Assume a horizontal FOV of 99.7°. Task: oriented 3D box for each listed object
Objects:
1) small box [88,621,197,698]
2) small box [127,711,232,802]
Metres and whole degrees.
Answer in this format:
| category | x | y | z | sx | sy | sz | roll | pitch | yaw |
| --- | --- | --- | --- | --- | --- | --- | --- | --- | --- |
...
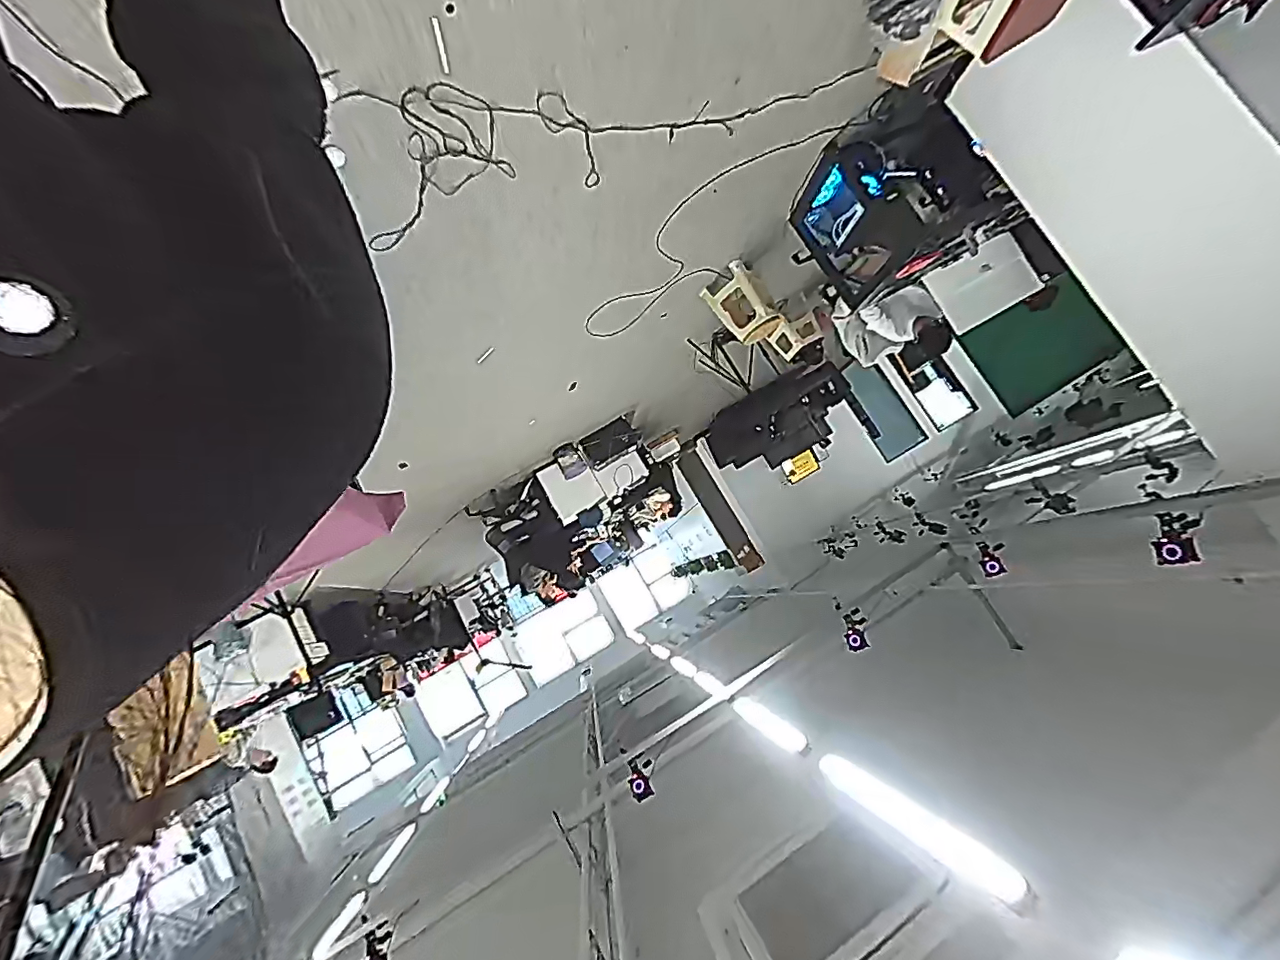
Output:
| category | x | y | z | sx | sy | sz | roll | pitch | yaw |
| --- | --- | --- | --- | --- | --- | --- | --- | --- | --- |
| small box | -1.591 | 0.565 | 1.731 | 0.179 | 0.176 | 0.168 | -28 | 171 | -14 |
| small box | -1.431 | 0.848 | 1.678 | 0.179 | 0.176 | 0.168 | -29 | 172 | -13 |
